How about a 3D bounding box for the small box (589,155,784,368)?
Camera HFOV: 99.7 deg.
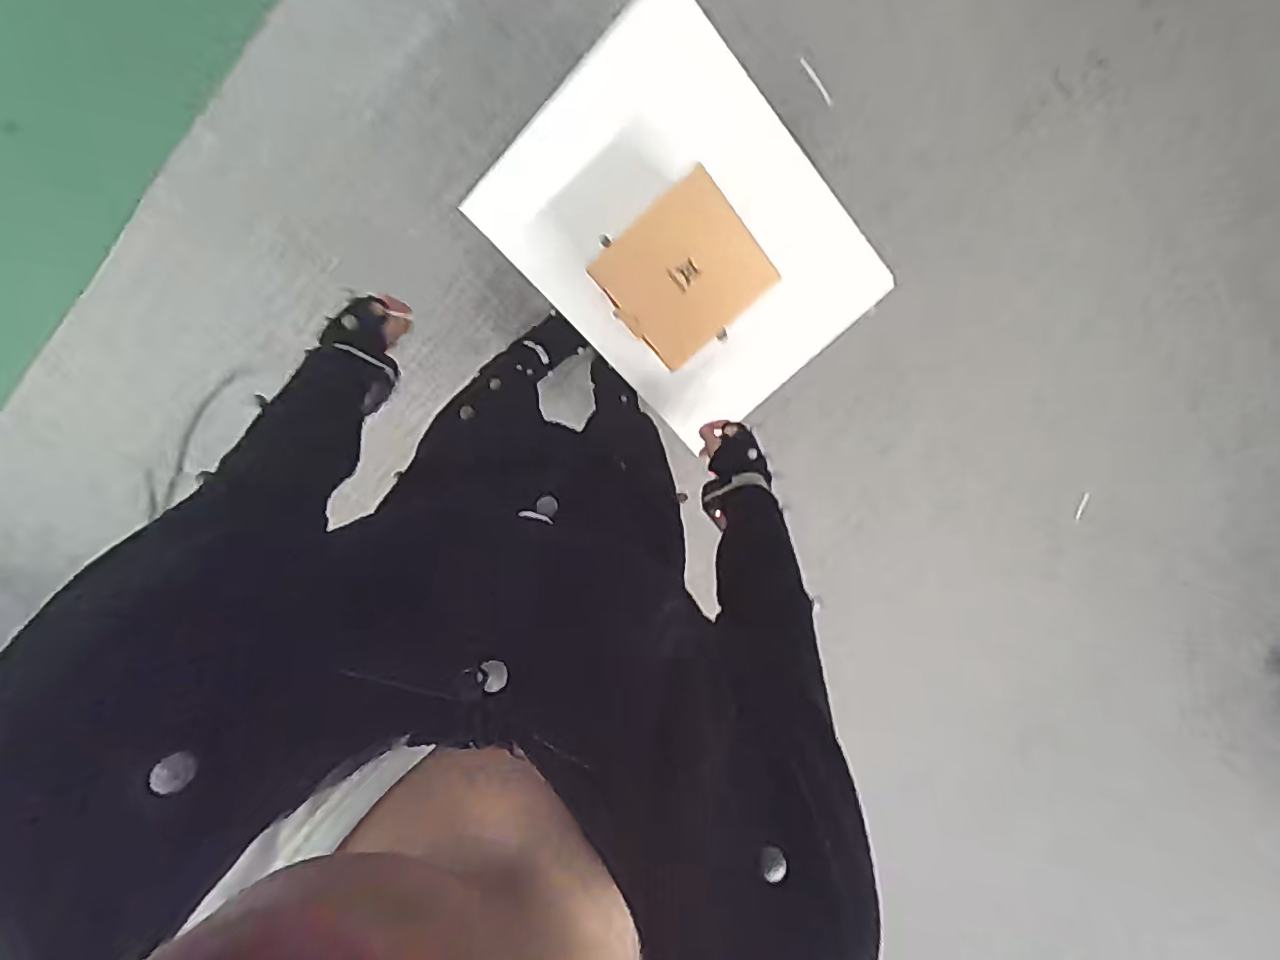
[{"bbox_3d":[0.050,-0.274,0.702,0.179,0.176,0.168,-39,107,11],"label":"small box"}]
